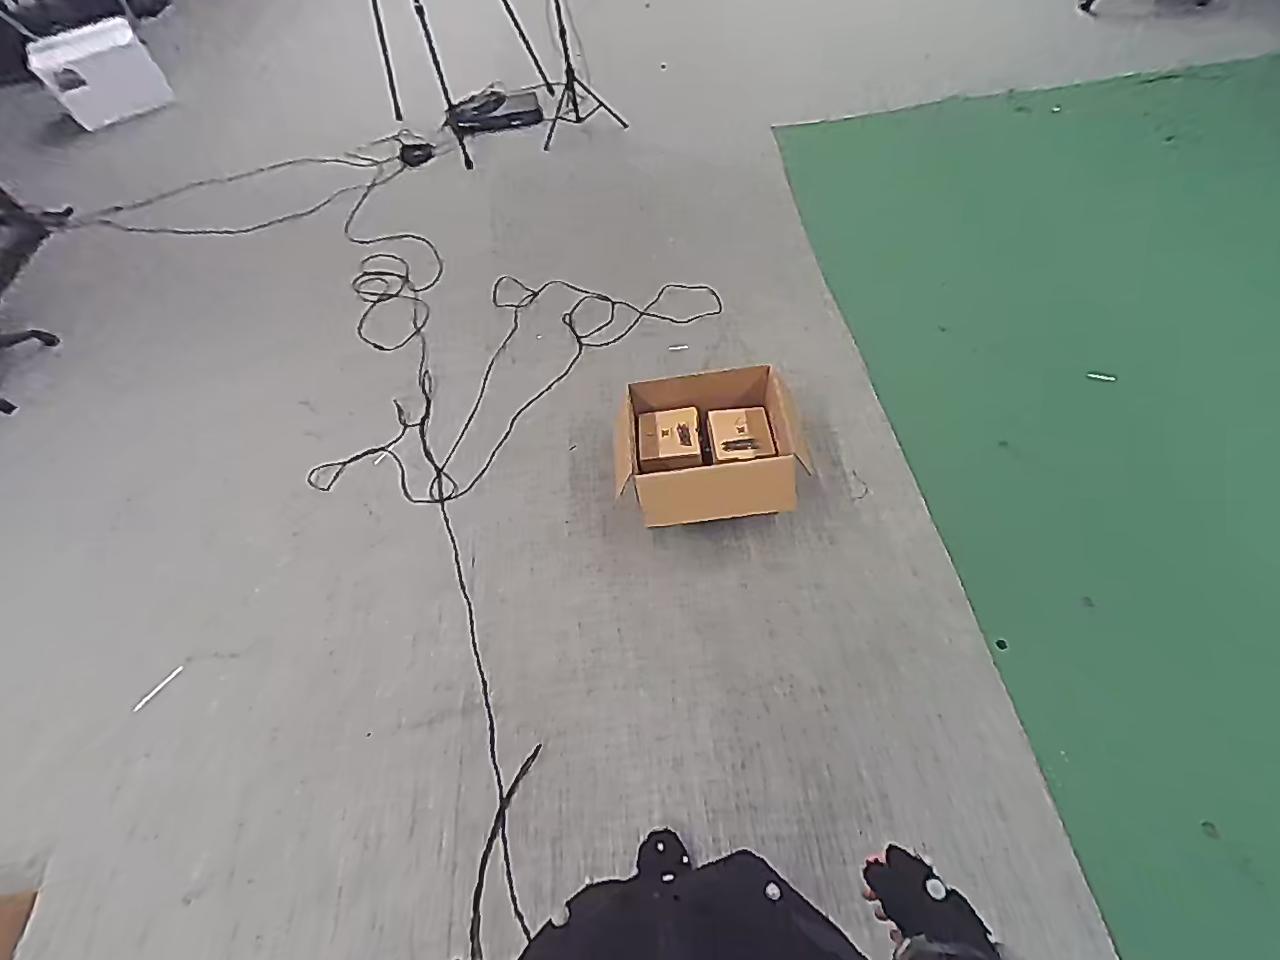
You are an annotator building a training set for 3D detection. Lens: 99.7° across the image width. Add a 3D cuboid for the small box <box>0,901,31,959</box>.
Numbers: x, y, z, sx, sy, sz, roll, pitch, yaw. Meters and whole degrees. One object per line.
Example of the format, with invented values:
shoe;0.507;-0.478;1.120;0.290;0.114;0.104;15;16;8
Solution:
small box;-1.487;1.023;1.153;0.168;0.176;0.179;-9;59;1
